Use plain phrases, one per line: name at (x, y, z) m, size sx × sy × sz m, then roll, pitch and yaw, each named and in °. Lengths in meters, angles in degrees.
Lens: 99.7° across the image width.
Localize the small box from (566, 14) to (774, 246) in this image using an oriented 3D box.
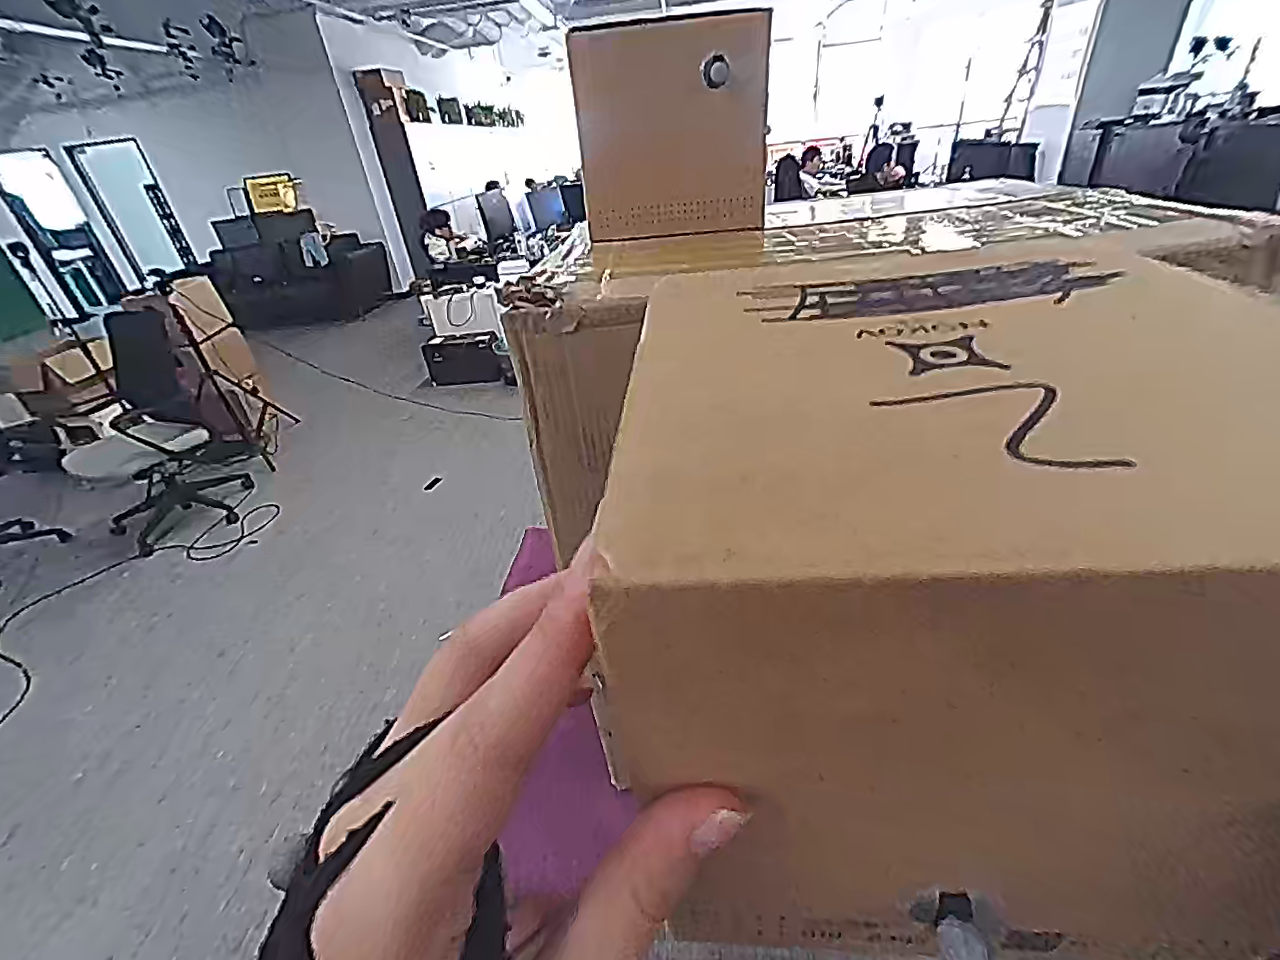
small box at (0.033, -0.348, 0.556) m, size 0.179 × 0.176 × 0.168 m, roll -3°, pitch 31°, yaw 4°
